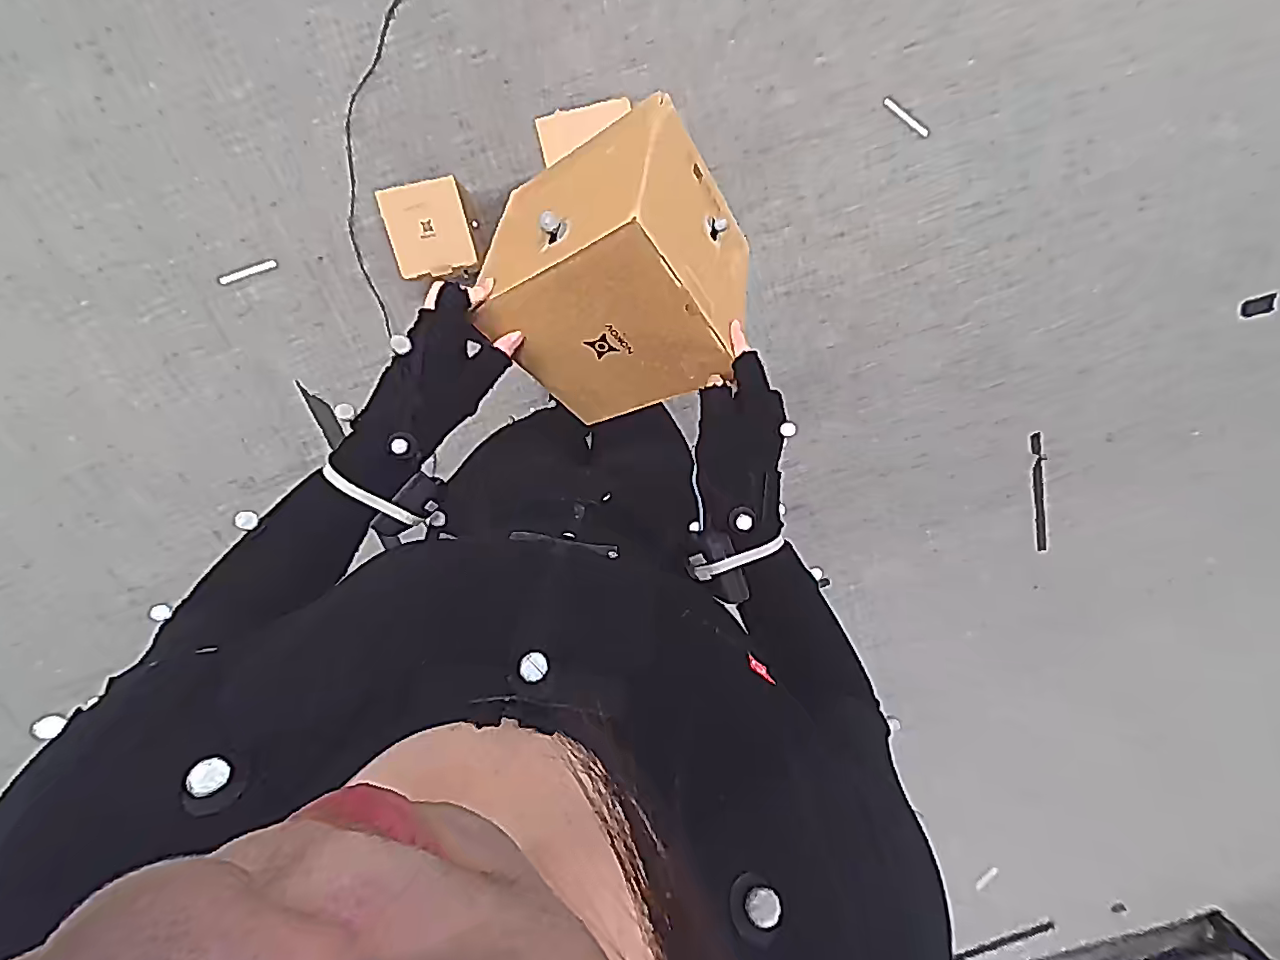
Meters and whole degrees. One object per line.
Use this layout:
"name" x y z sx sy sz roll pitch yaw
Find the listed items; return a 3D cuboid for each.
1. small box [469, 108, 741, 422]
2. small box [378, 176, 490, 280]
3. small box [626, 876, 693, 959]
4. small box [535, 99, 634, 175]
"small box" -0.018 -0.184 0.494 0.179 0.176 0.168 -14 143 32
"small box" -0.447 -0.551 1.206 0.168 0.176 0.179 -13 108 -2
"small box" 0.056 1.395 1.692 0.179 0.176 0.168 -15 110 -1
"small box" -0.091 -0.602 1.052 0.179 0.176 0.168 -14 109 -2
